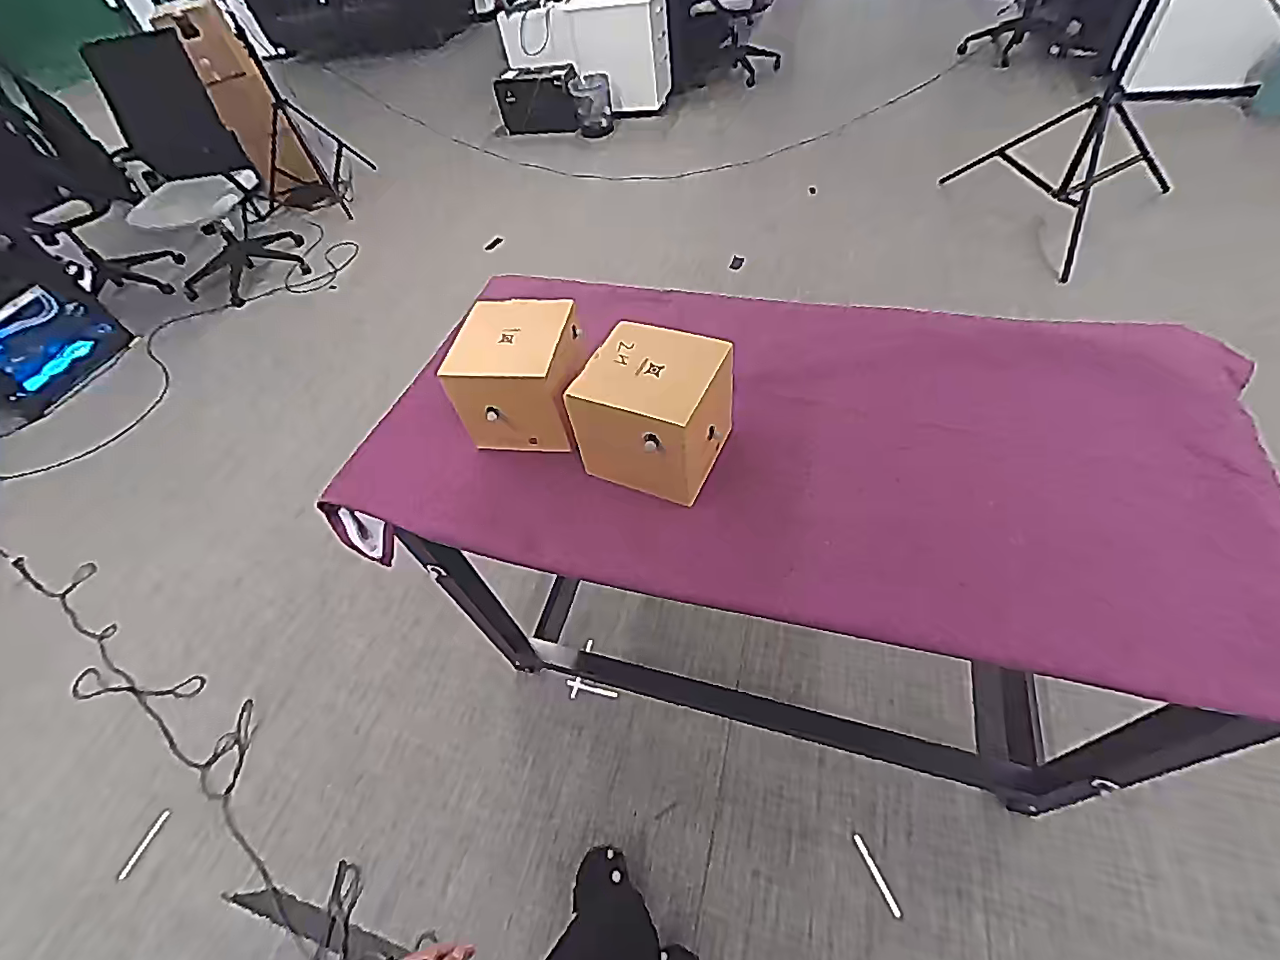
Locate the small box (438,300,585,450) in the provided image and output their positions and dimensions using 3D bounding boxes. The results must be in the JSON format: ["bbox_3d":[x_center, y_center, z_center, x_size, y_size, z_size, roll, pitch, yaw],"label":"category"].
[{"bbox_3d":[-0.186,-0.163,0.864,0.168,0.176,0.179,2,53,11],"label":"small box"}]

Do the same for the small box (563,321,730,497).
[{"bbox_3d":[0.020,-0.098,0.778,0.179,0.176,0.168,17,56,21],"label":"small box"}]
